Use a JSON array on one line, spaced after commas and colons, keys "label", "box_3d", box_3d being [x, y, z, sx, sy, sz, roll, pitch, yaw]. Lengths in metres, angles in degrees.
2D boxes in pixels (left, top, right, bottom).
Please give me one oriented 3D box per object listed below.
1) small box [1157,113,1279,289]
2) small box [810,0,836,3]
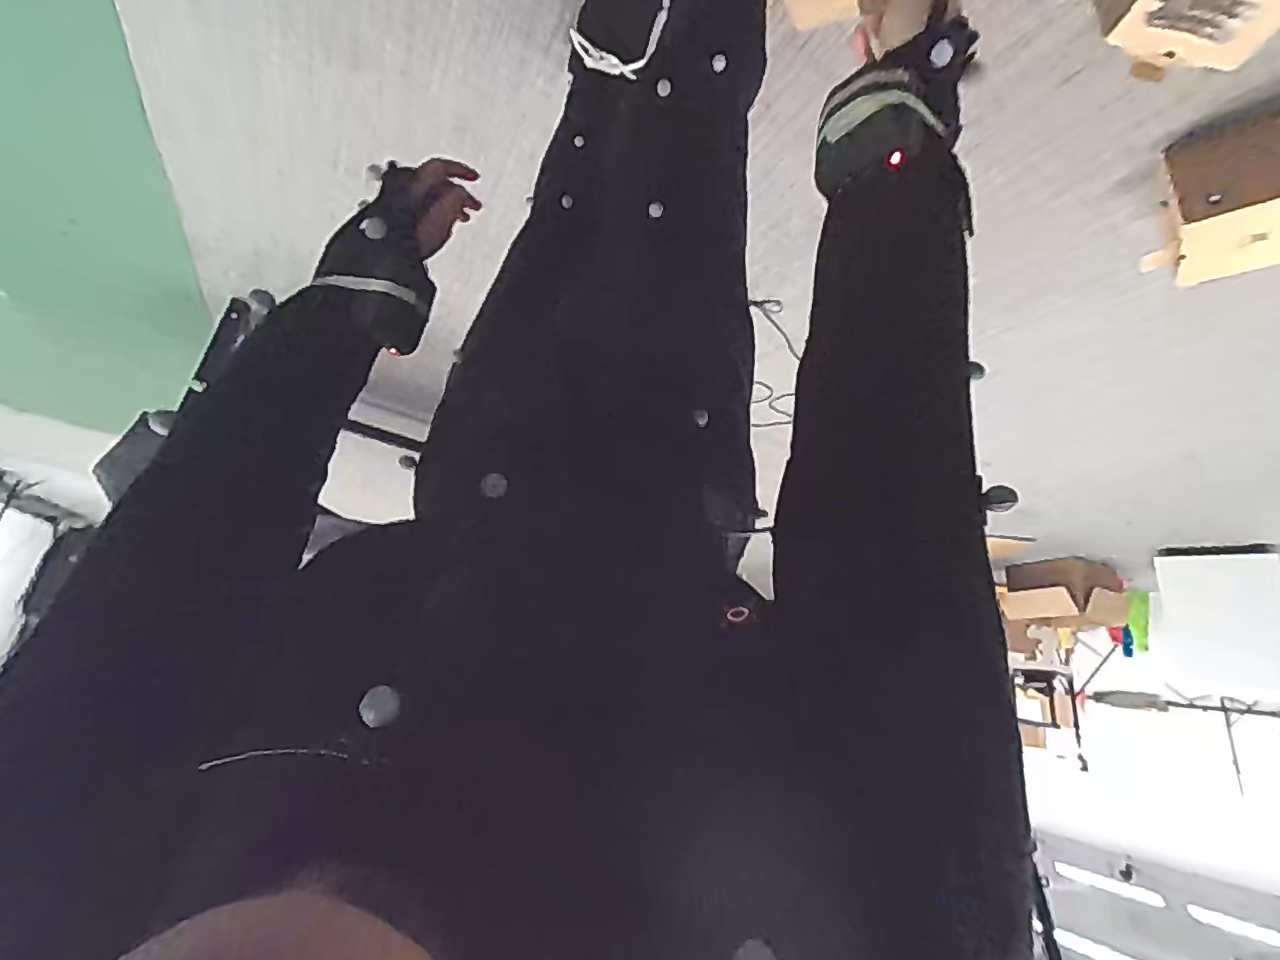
[{"label": "small box", "box_3d": [0.969, -0.447, 0.867, 0.179, 0.176, 0.168, -8, 155, 39]}, {"label": "small box", "box_3d": [0.191, -0.485, 0.391, 0.168, 0.176, 0.179, 3, 118, 21]}]
